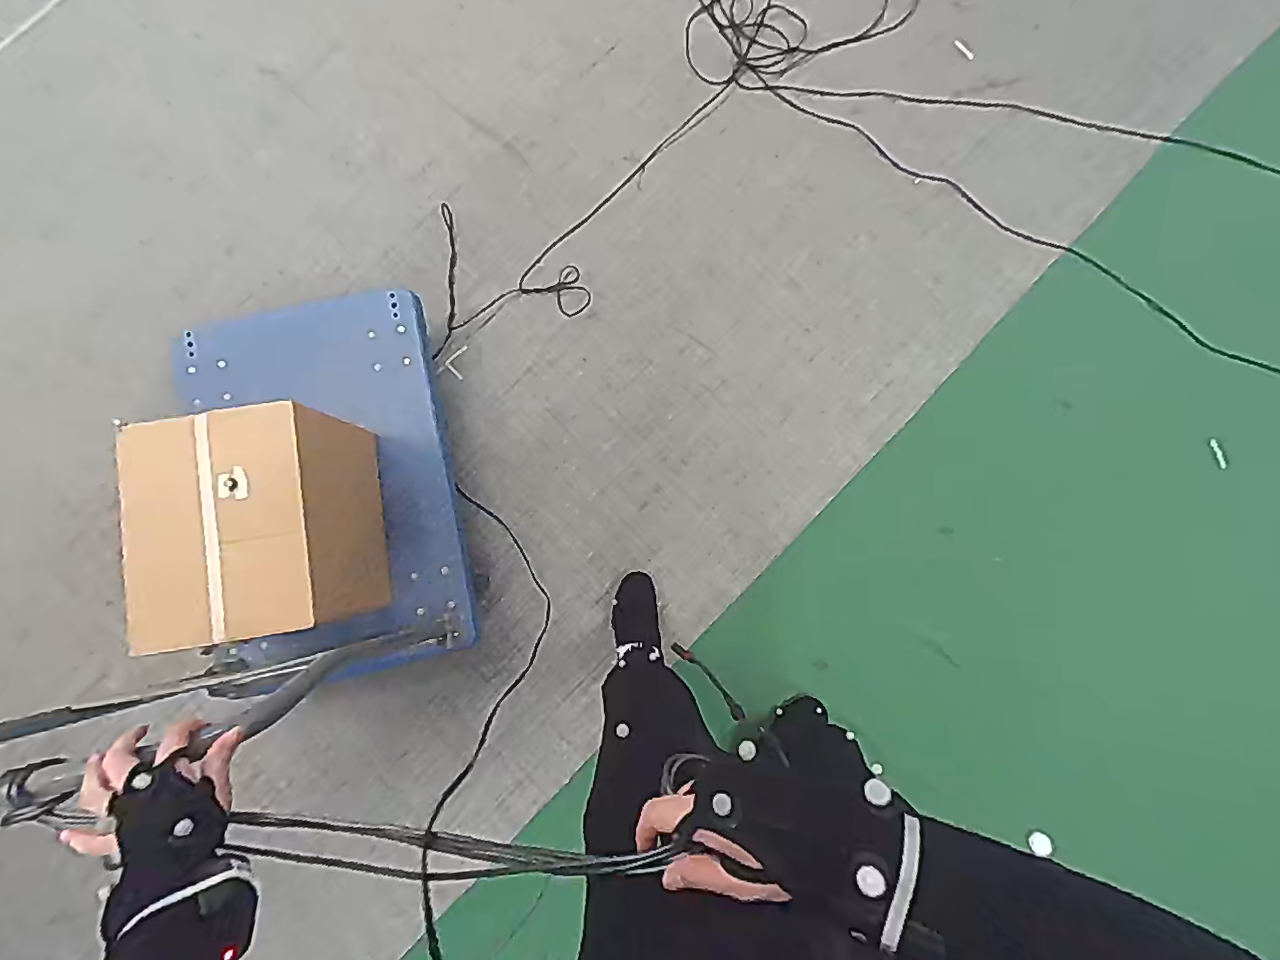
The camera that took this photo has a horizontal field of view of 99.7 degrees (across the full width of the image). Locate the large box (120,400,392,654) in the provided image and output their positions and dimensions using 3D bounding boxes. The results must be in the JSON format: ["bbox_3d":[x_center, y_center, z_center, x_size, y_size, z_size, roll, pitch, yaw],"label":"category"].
[{"bbox_3d":[-0.728,0.092,1.074,0.320,0.320,0.408,-8,84,-2],"label":"large box"}]
